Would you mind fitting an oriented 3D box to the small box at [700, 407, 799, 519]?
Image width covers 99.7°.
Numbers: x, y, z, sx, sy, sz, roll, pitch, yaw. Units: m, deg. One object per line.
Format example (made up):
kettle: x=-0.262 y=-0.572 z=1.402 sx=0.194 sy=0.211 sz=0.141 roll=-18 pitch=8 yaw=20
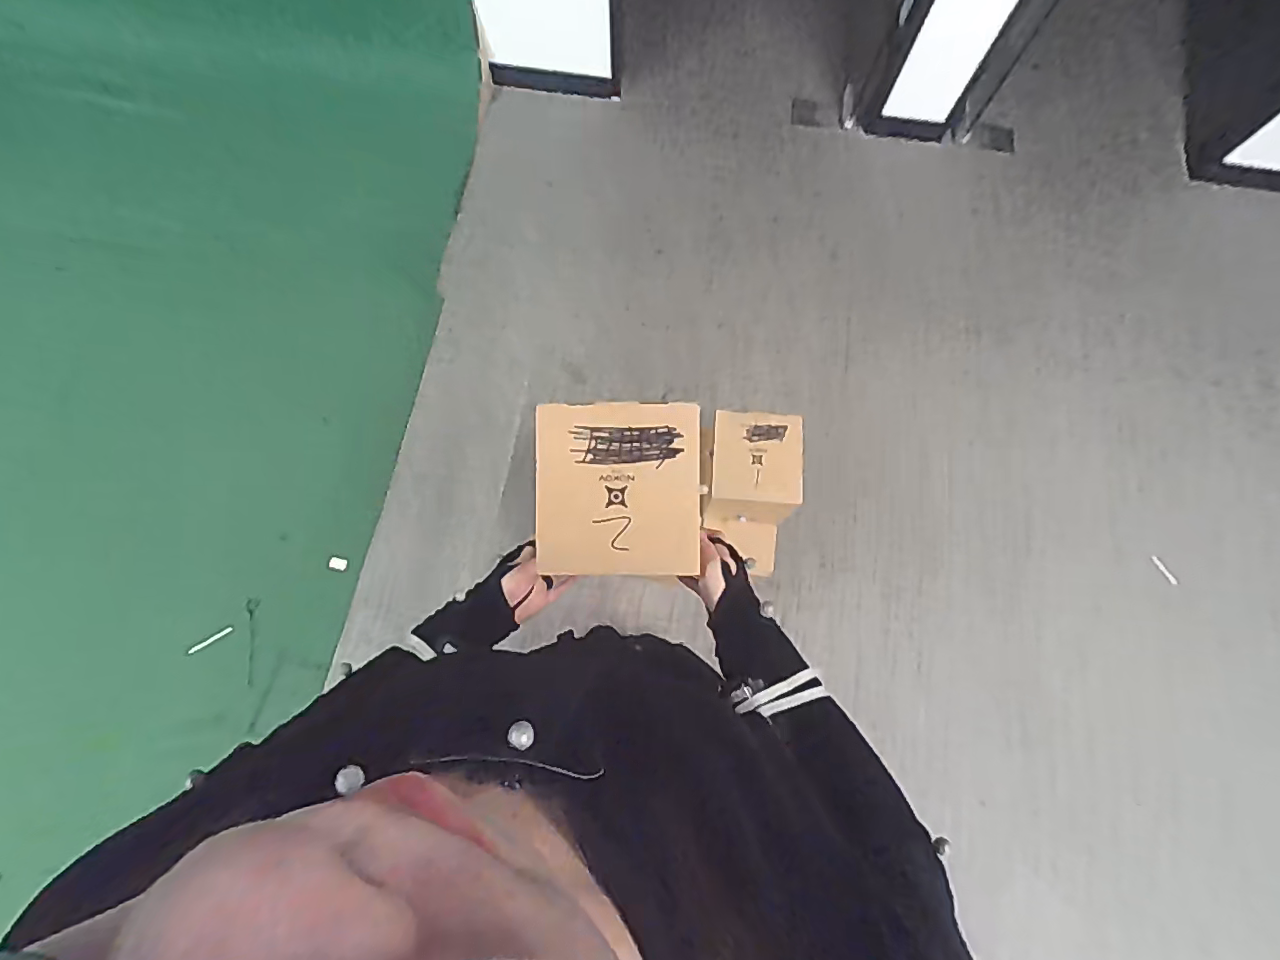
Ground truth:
small box: x=0.213 y=-0.029 z=1.085 sx=0.168 sy=0.176 sz=0.179 roll=5 pitch=75 yaw=3
